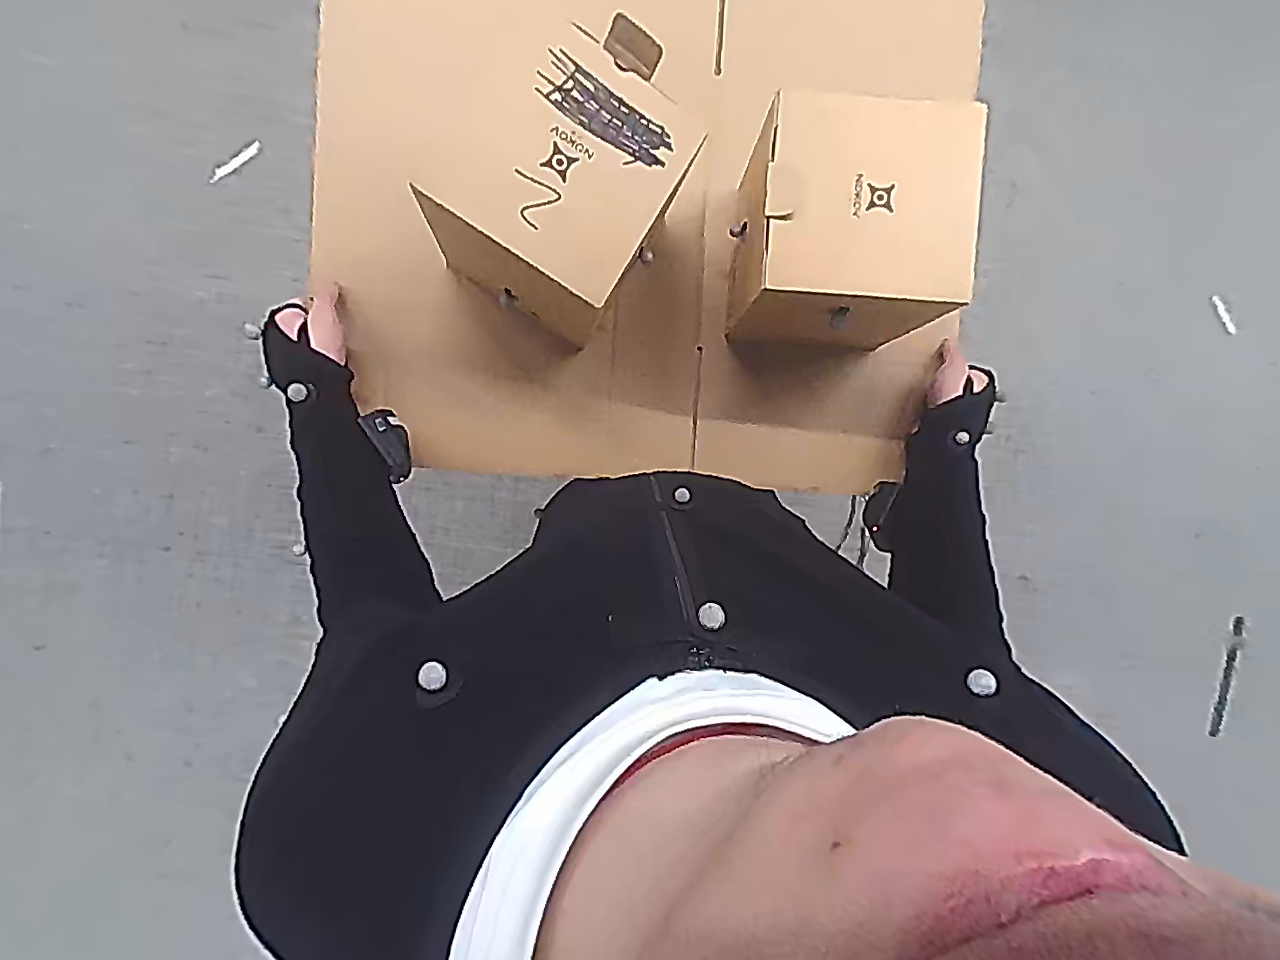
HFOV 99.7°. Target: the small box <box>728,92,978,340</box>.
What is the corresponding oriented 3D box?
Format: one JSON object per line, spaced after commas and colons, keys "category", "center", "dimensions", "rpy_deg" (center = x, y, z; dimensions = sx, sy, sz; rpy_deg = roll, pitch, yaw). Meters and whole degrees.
{"category": "small box", "center": [0.194, -0.242, 0.538], "dimensions": [0.179, 0.176, 0.168], "rpy_deg": [4, 91, 0]}
